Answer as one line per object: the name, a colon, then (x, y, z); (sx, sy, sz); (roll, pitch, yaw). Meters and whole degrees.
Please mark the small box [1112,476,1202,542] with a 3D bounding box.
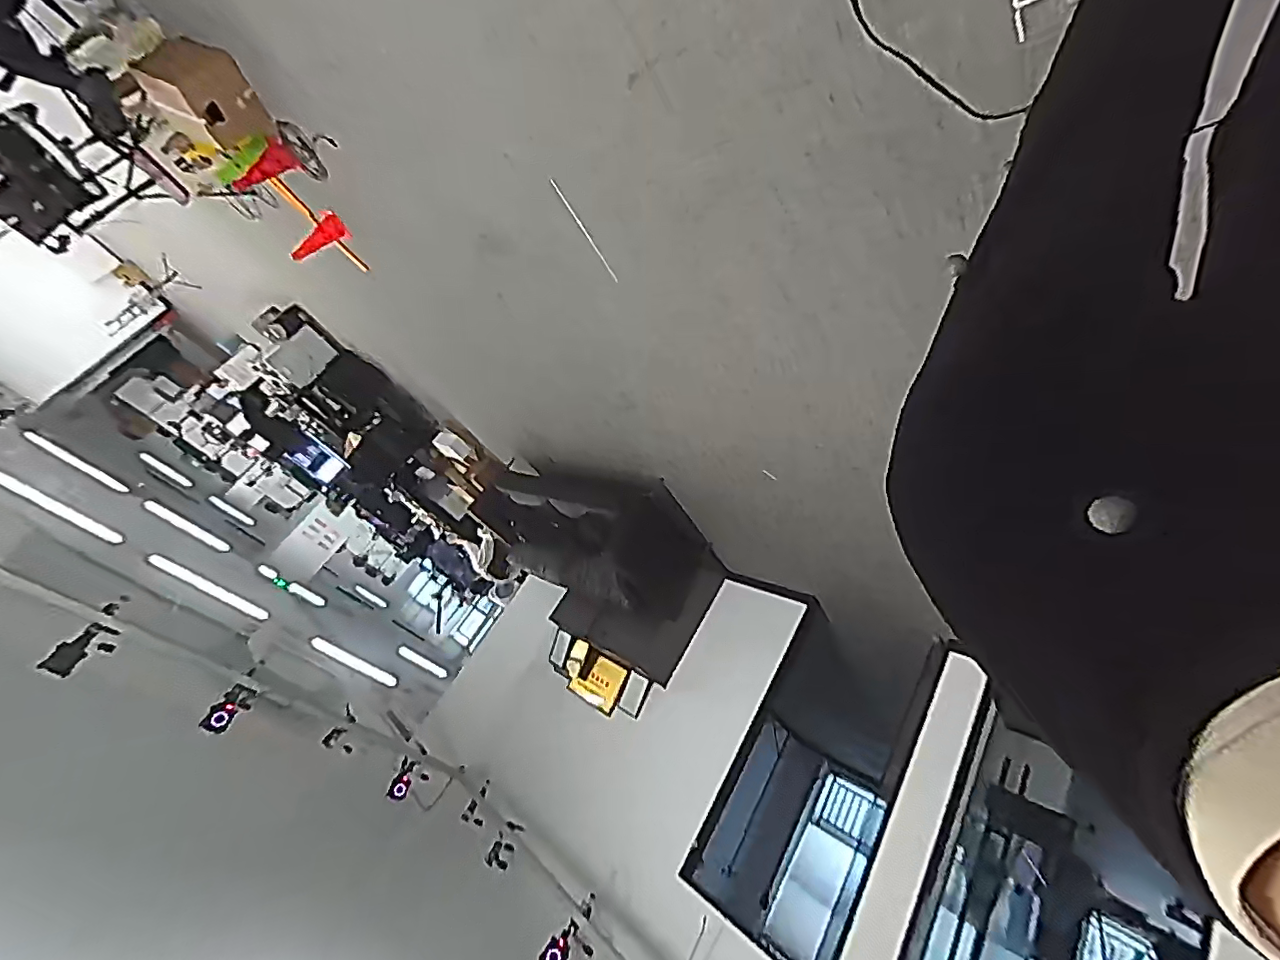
small box: (1.637, 0.106, 1.713); (0.179, 0.176, 0.168); (15, 151, 41)
